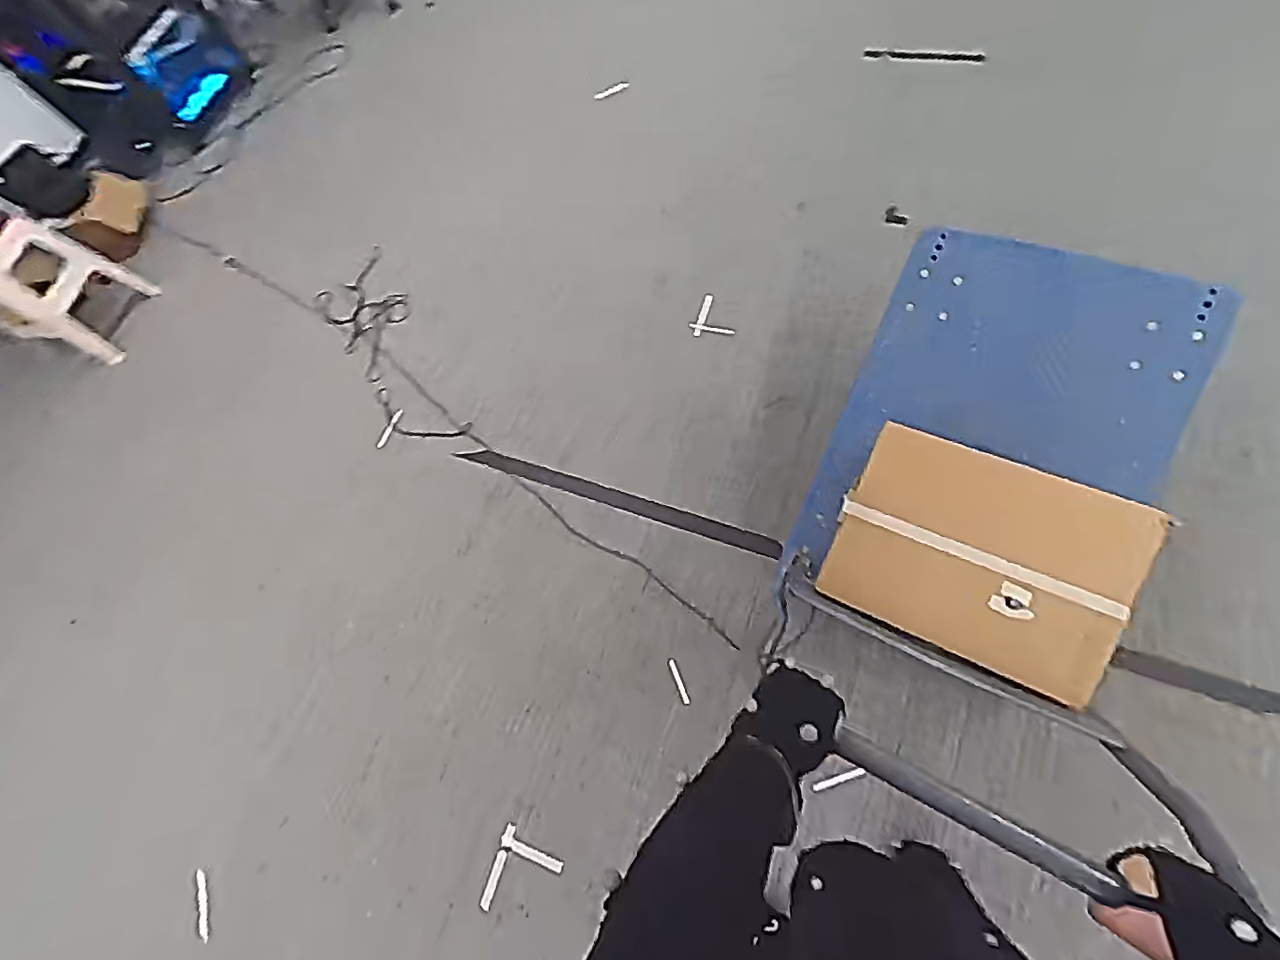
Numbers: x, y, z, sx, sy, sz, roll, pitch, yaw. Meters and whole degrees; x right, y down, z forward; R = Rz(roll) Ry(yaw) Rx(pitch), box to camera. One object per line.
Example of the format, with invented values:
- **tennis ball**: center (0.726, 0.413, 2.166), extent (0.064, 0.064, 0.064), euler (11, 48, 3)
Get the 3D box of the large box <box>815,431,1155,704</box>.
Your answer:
- **large box**: center (0.575, 0.137, 1.003), extent (0.408, 0.320, 0.320), euler (23, 94, 19)
